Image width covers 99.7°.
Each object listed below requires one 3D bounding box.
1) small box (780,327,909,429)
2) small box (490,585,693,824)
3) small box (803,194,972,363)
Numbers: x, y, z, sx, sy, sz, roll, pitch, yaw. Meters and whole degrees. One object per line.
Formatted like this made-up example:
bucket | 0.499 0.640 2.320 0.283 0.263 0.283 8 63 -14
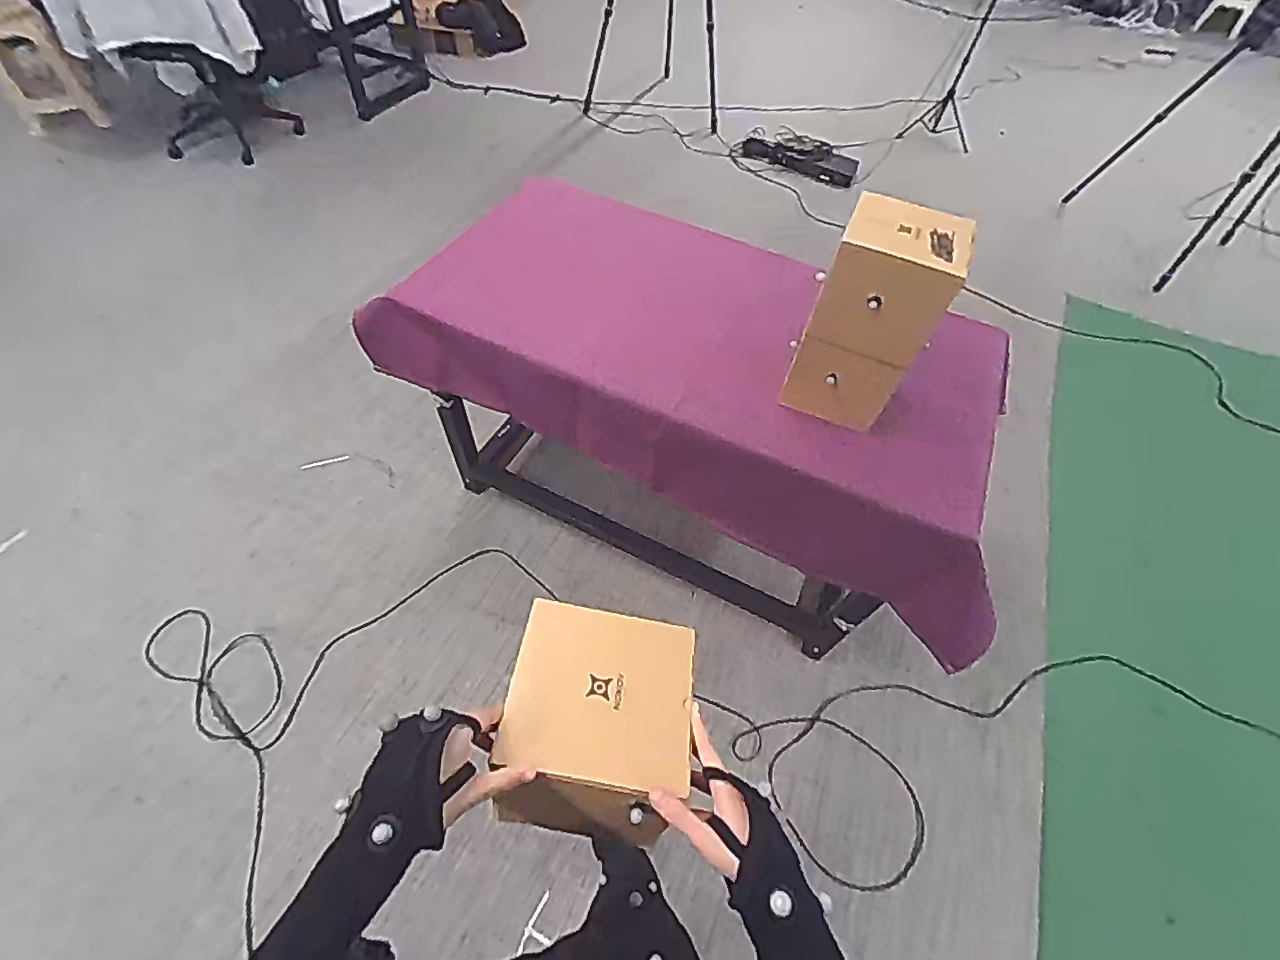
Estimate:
small box | 0.375 -0.220 0.990 0.179 0.176 0.168 22 56 11
small box | -0.051 0.240 0.572 0.179 0.176 0.168 13 43 -4
small box | 0.384 -0.312 0.854 0.179 0.176 0.168 23 55 12
